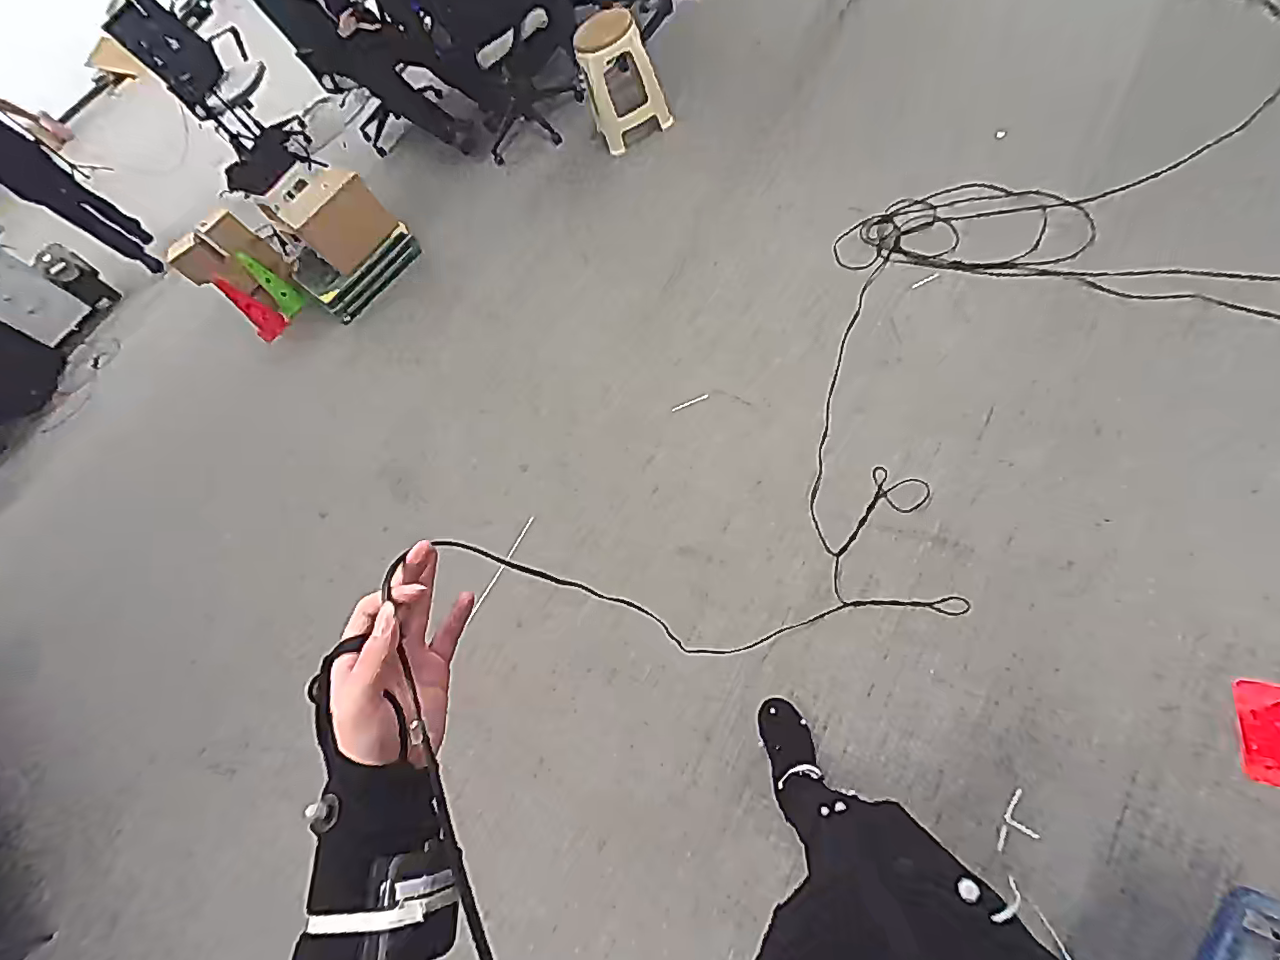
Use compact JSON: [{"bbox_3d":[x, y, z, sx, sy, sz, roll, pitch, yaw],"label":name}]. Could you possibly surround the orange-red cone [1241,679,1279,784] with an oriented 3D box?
[{"bbox_3d":[1.255,0.431,0.909,0.198,0.360,0.199,8,66,24],"label":"orange-red cone"}]
